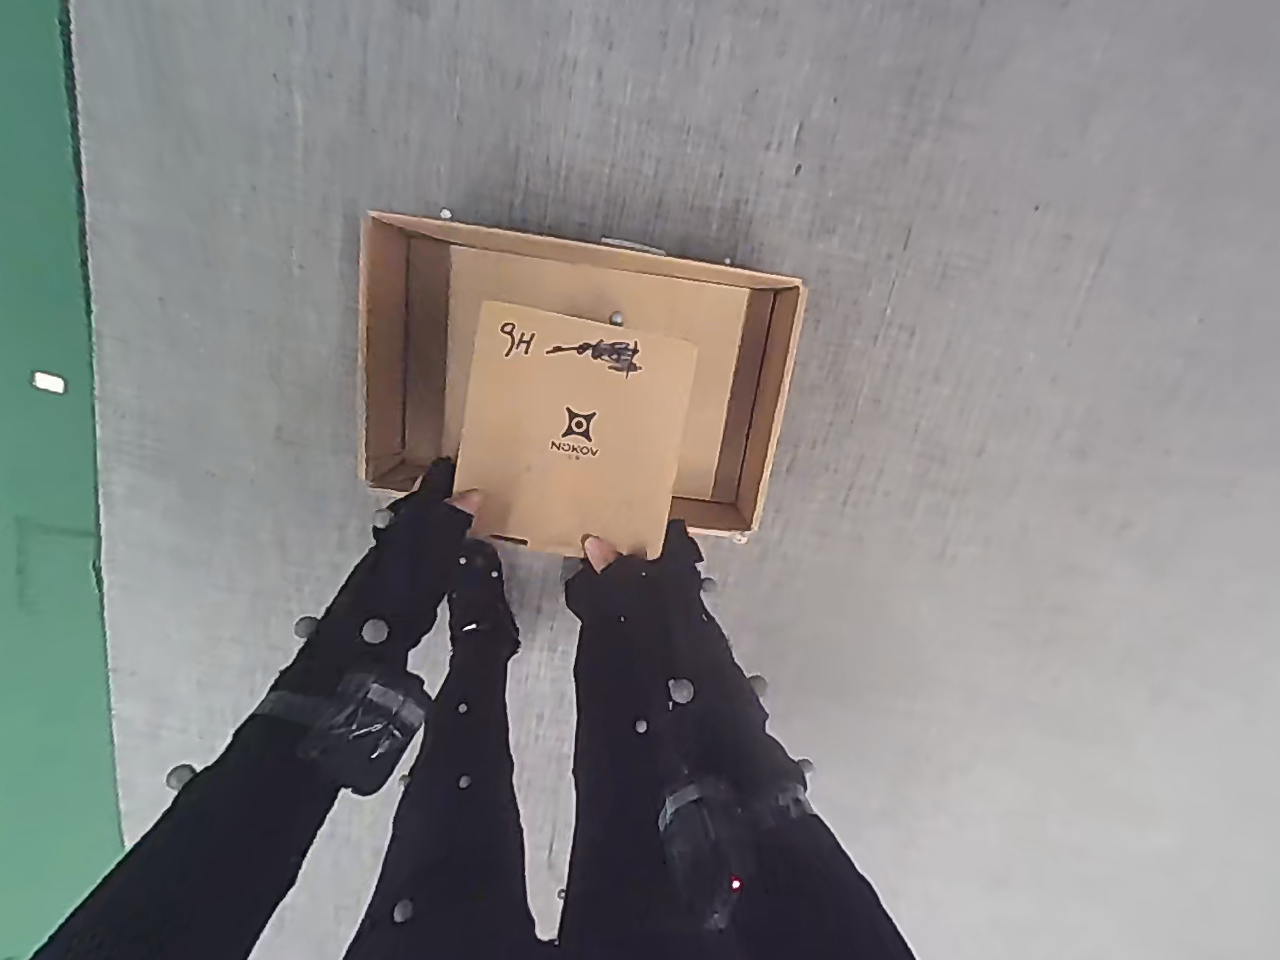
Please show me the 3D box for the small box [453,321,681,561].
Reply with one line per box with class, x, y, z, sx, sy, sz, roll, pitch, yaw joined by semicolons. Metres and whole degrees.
small box;-0.069;-0.036;0.517;0.168;0.176;0.179;8;95;-9
